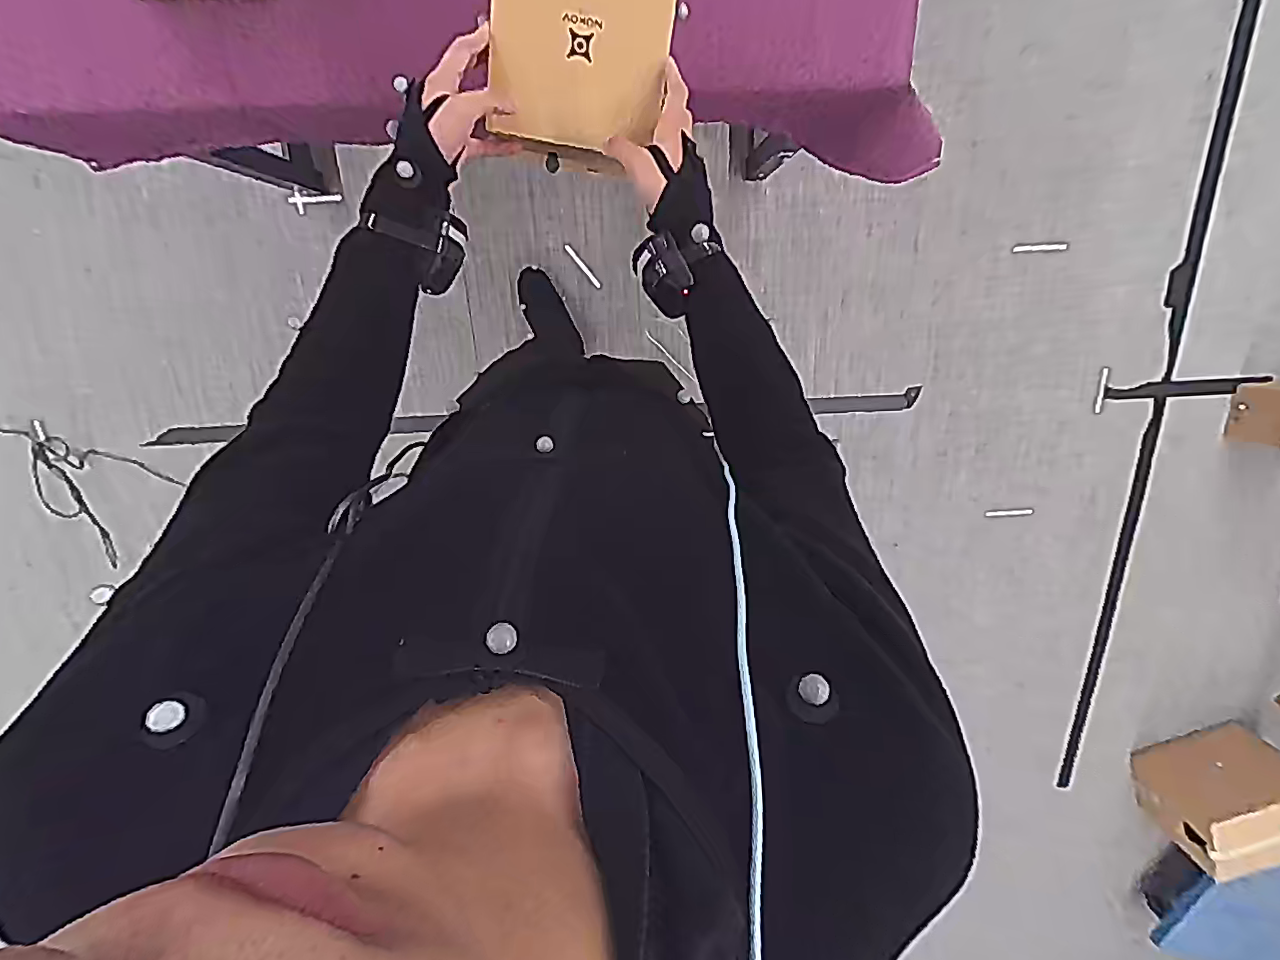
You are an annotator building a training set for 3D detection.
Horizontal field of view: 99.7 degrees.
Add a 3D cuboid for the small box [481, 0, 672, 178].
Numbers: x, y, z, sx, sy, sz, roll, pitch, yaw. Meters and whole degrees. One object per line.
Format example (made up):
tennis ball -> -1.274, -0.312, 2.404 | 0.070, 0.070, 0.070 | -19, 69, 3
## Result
small box -> -0.063, -0.433, 0.563 | 0.168, 0.176, 0.179 | 6, 110, -8
